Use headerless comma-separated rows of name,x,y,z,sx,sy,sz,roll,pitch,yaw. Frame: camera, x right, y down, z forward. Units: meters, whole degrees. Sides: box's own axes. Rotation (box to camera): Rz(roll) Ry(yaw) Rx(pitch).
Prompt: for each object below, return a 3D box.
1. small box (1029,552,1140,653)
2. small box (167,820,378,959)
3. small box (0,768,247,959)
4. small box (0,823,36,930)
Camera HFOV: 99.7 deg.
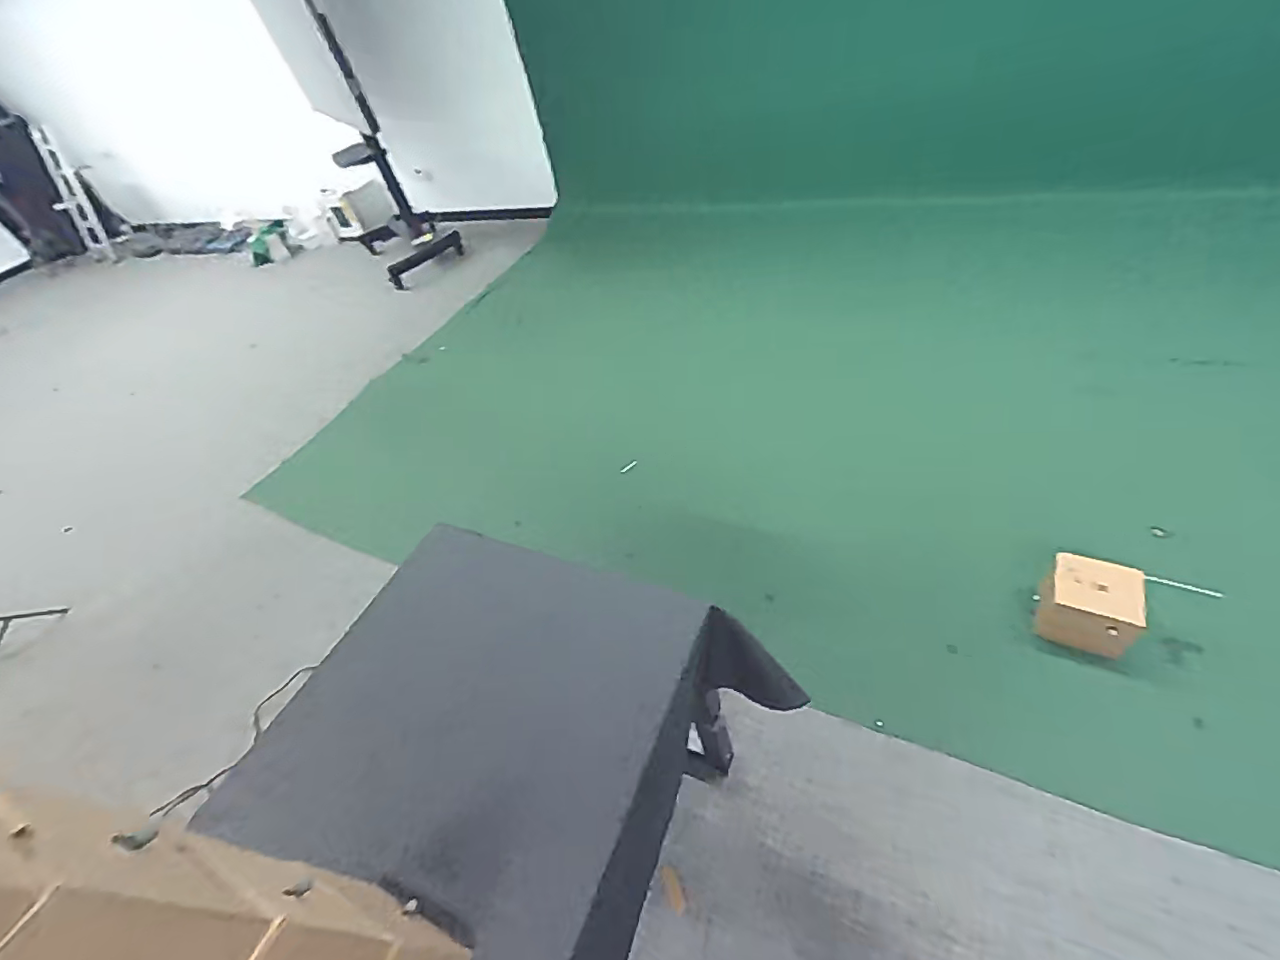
small box,1.130,0.317,1.381,0.179,0.176,0.168,14,52,28
small box,-0.350,0.422,0.441,0.168,0.176,0.179,10,51,24
small box,-0.390,0.312,0.327,0.168,0.176,0.179,12,51,26
small box,-0.429,0.203,0.209,0.168,0.176,0.179,11,51,24
